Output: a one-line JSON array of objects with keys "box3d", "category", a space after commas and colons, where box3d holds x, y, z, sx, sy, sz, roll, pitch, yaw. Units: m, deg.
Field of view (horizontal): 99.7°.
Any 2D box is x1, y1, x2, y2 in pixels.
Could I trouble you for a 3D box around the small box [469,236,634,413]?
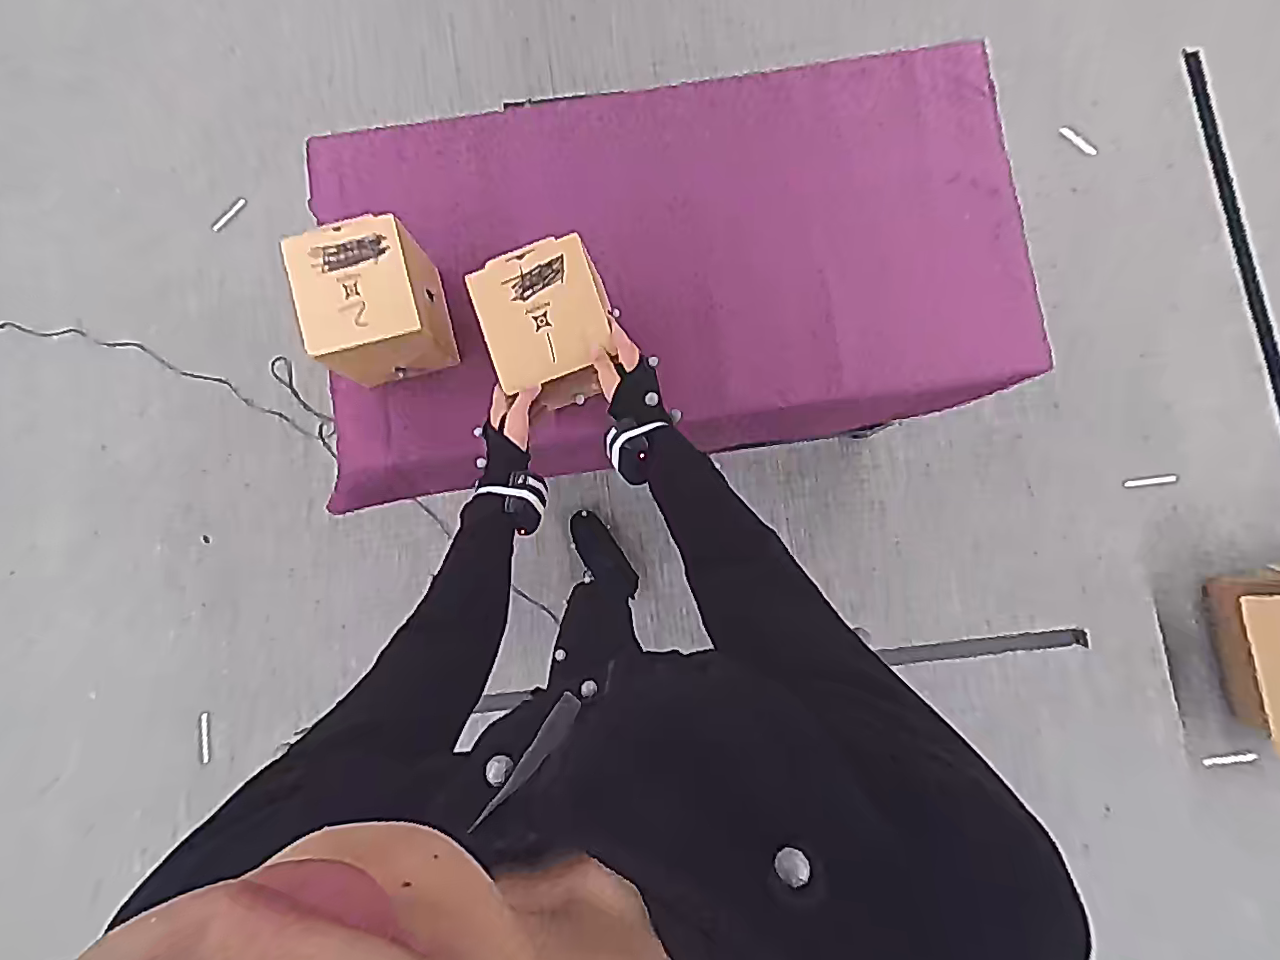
[{"box3d": [-0.117, -0.211, 0.785, 0.168, 0.176, 0.179, -19, 88, 6], "category": "small box"}]
